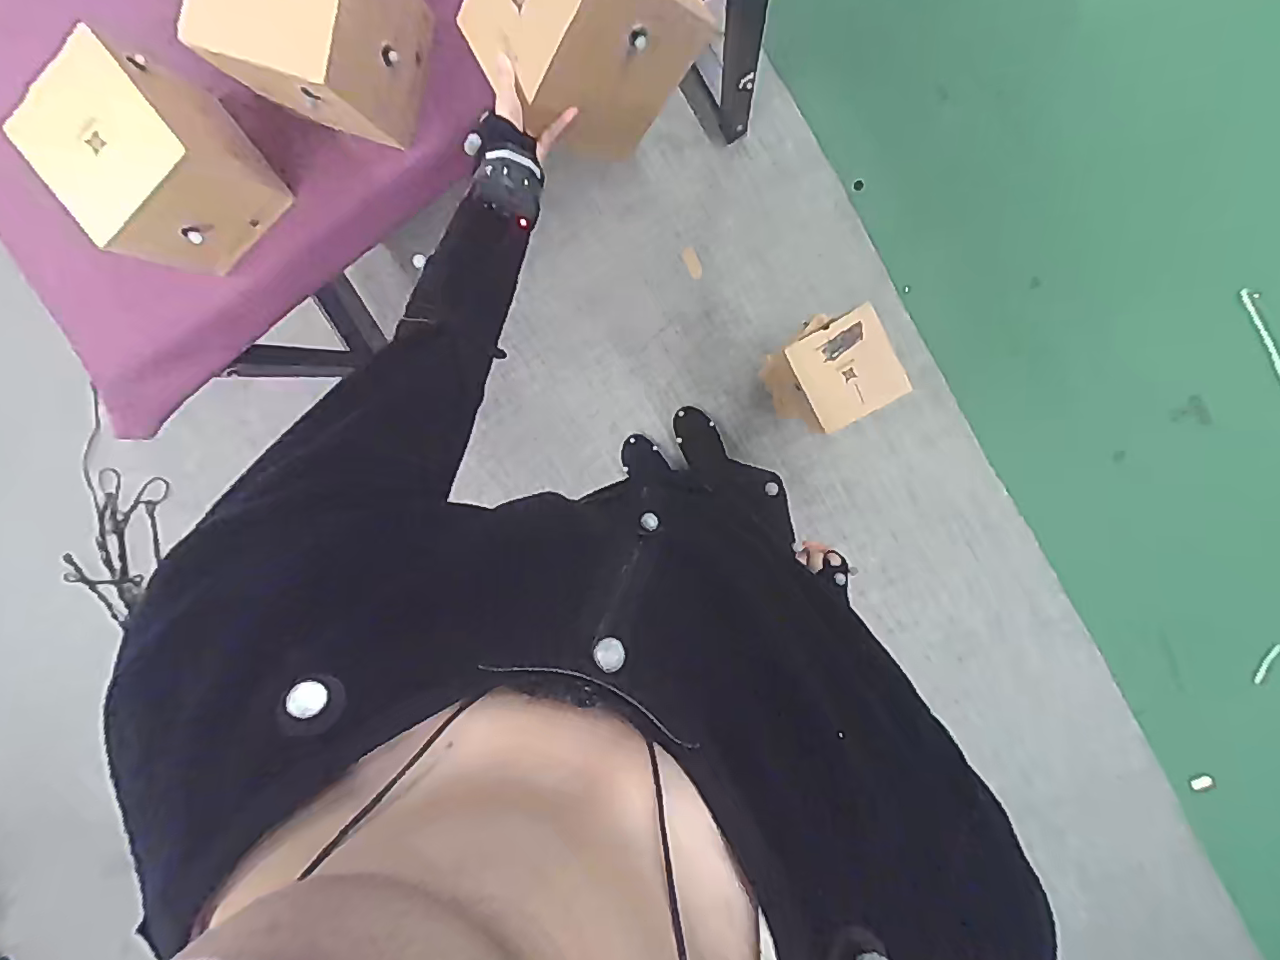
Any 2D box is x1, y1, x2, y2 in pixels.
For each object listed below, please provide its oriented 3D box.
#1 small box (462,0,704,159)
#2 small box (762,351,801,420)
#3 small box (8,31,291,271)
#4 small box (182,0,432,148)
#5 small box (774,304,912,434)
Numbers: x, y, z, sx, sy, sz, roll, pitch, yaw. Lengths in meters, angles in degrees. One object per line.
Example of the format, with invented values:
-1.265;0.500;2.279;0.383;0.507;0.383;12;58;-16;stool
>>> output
-0.054;-0.489;0.581;0.179;0.176;0.168;-37;77;43;small box
0.409;-0.256;1.341;0.179;0.176;0.168;-20;98;10;small box
-0.600;-0.390;0.687;0.168;0.176;0.179;-38;92;11;small box
-0.374;-0.525;0.635;0.179;0.176;0.168;19;101;3;small box
0.370;-0.204;1.019;0.168;0.176;0.179;-28;97;10;small box
